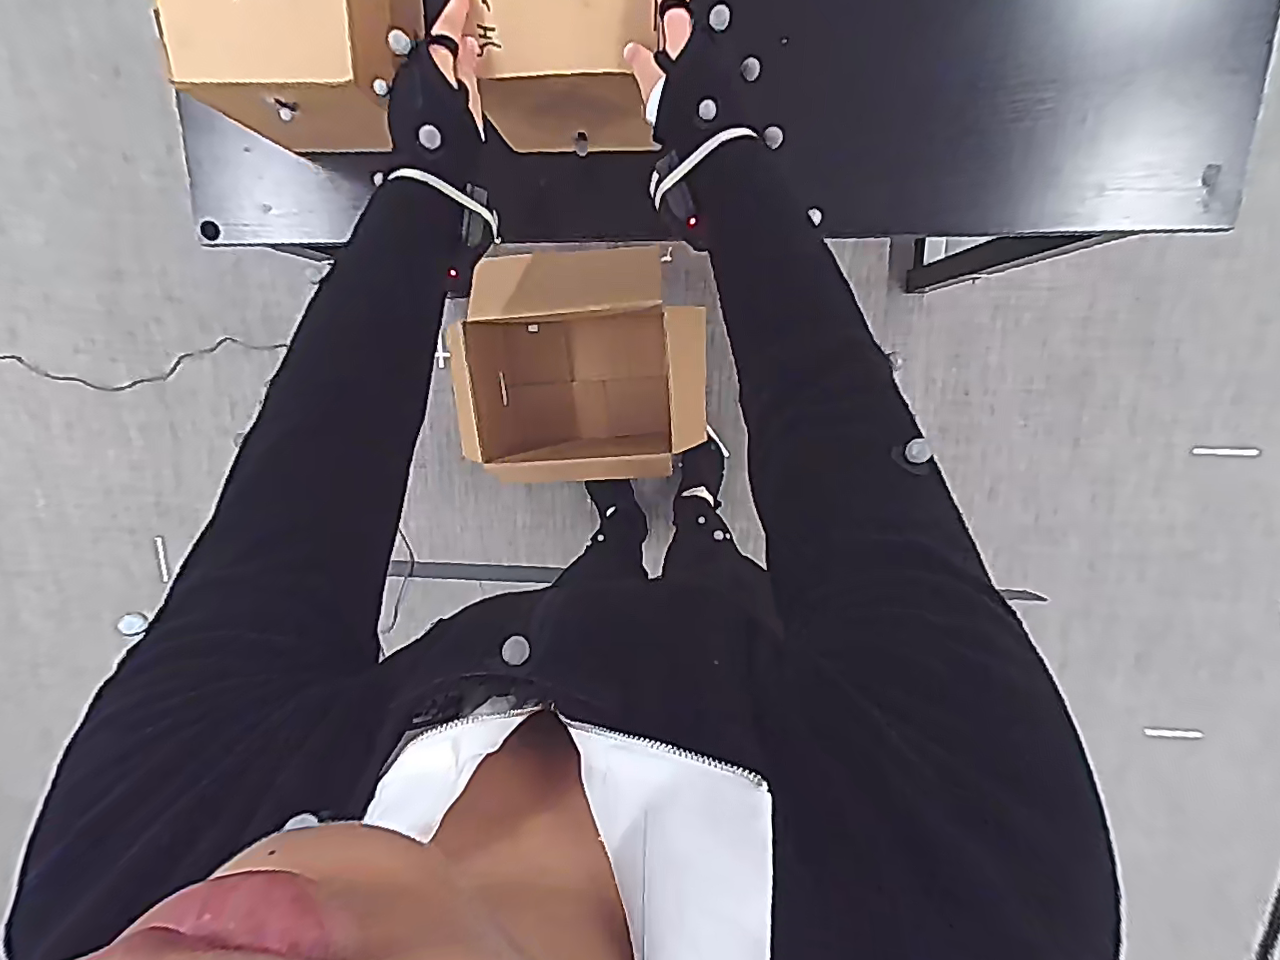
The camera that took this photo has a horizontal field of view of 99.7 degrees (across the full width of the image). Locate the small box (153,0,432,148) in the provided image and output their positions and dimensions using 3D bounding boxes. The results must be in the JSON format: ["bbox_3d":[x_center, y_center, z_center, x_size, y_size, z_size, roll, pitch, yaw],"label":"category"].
[{"bbox_3d":[-0.328,-0.447,0.533,0.179,0.176,0.168,1,103,2],"label":"small box"}]

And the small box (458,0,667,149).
[{"bbox_3d":[-0.063,-0.441,0.521,0.179,0.176,0.168,1,102,2],"label":"small box"}]
